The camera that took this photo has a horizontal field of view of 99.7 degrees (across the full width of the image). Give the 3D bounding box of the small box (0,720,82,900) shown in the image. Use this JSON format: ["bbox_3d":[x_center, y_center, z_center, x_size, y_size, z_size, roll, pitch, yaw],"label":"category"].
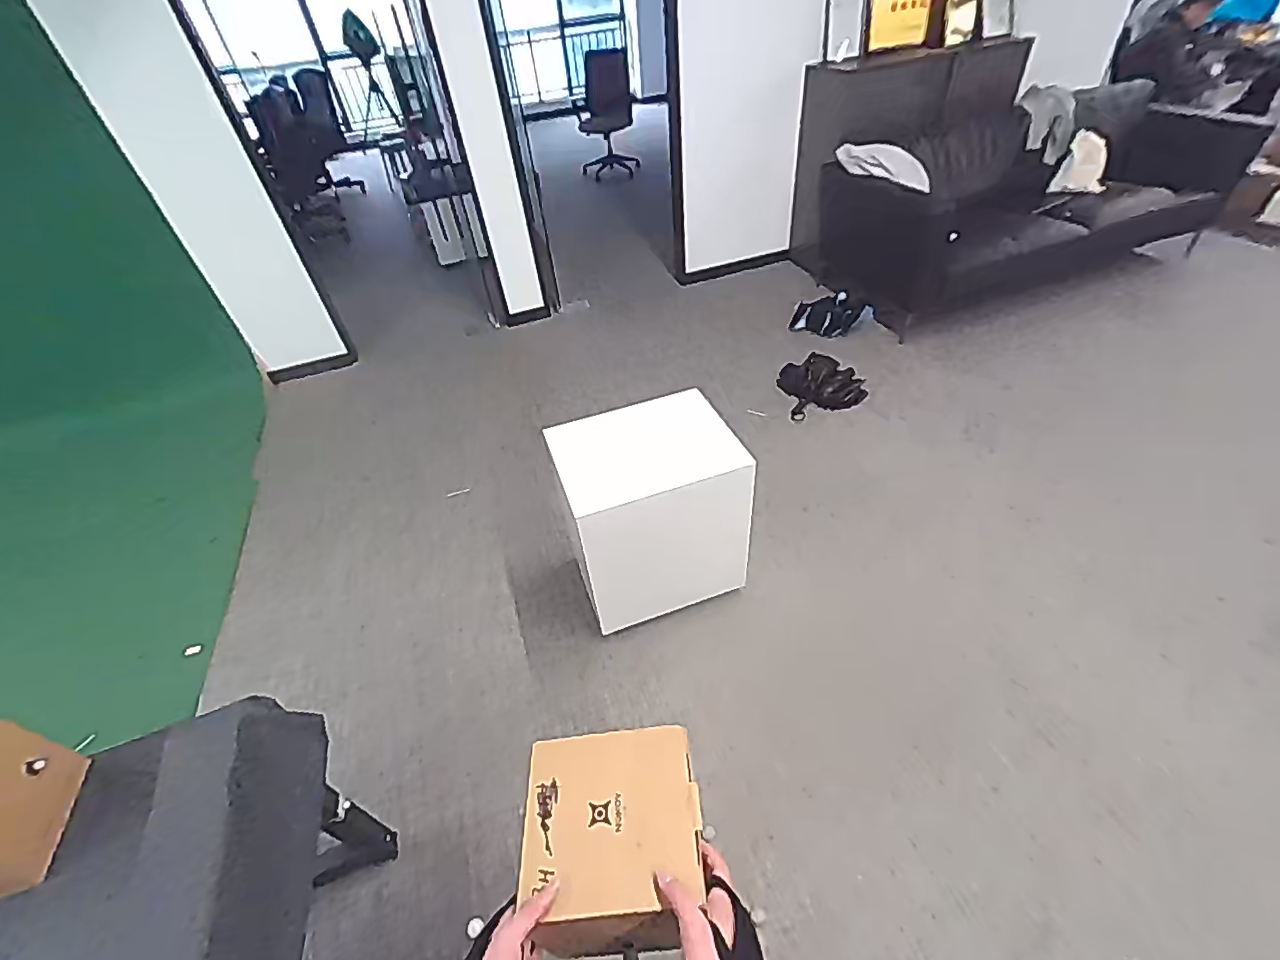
[{"bbox_3d":[-0.933,0.466,0.733,0.168,0.176,0.179,-17,45,-10],"label":"small box"}]

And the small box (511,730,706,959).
[{"bbox_3d":[-0.023,0.397,0.589,0.179,0.176,0.168,-7,40,3],"label":"small box"}]
